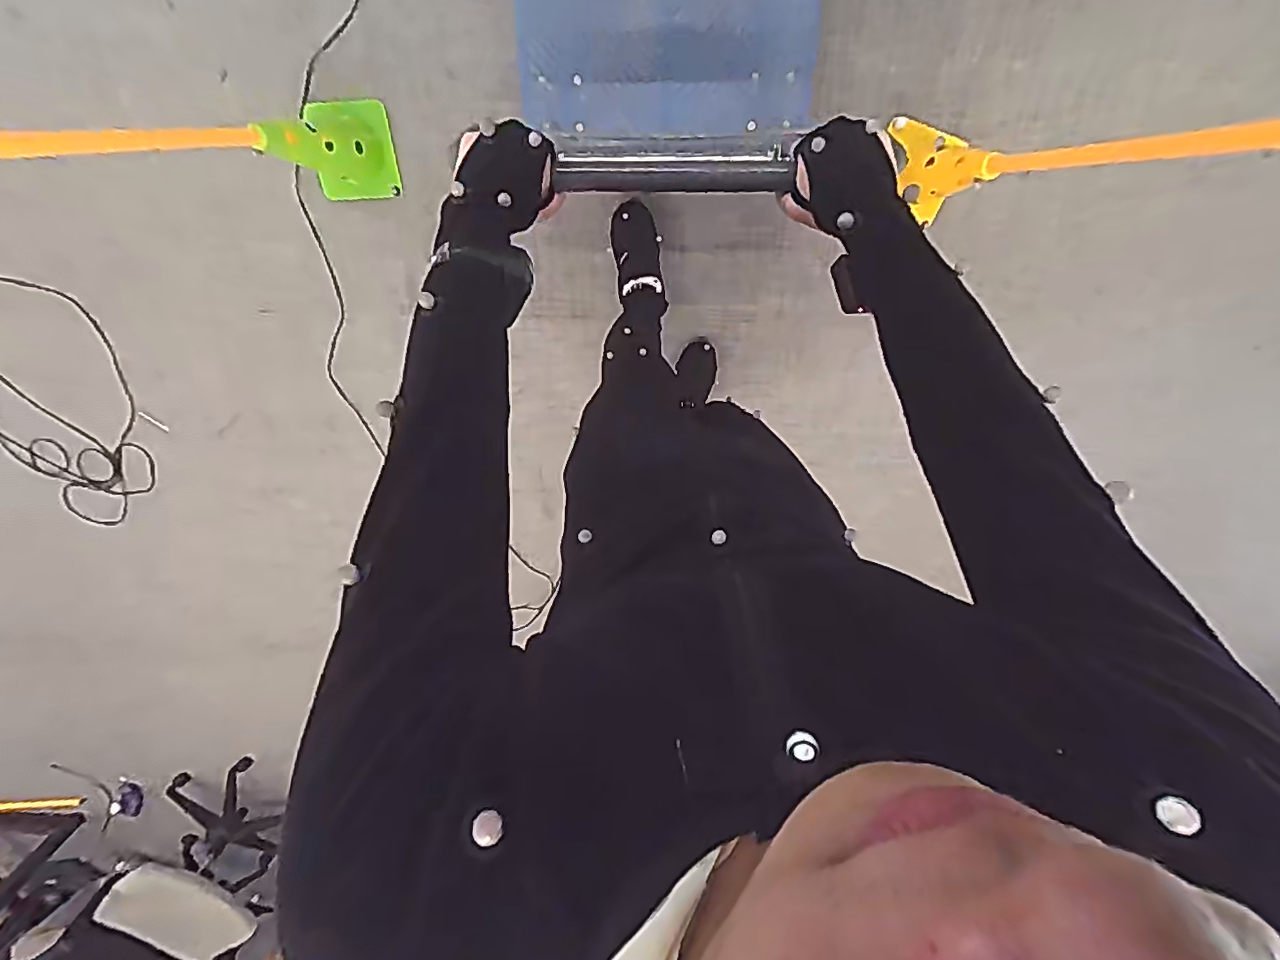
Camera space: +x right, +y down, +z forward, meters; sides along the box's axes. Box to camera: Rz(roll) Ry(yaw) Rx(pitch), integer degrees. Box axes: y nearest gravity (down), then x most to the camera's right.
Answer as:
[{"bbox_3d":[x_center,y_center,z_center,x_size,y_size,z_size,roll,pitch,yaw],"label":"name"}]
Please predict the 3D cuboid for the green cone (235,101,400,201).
[{"bbox_3d":[-0.701,-0.708,1.143,0.202,0.368,0.200,-1,117,5],"label":"green cone"}]
